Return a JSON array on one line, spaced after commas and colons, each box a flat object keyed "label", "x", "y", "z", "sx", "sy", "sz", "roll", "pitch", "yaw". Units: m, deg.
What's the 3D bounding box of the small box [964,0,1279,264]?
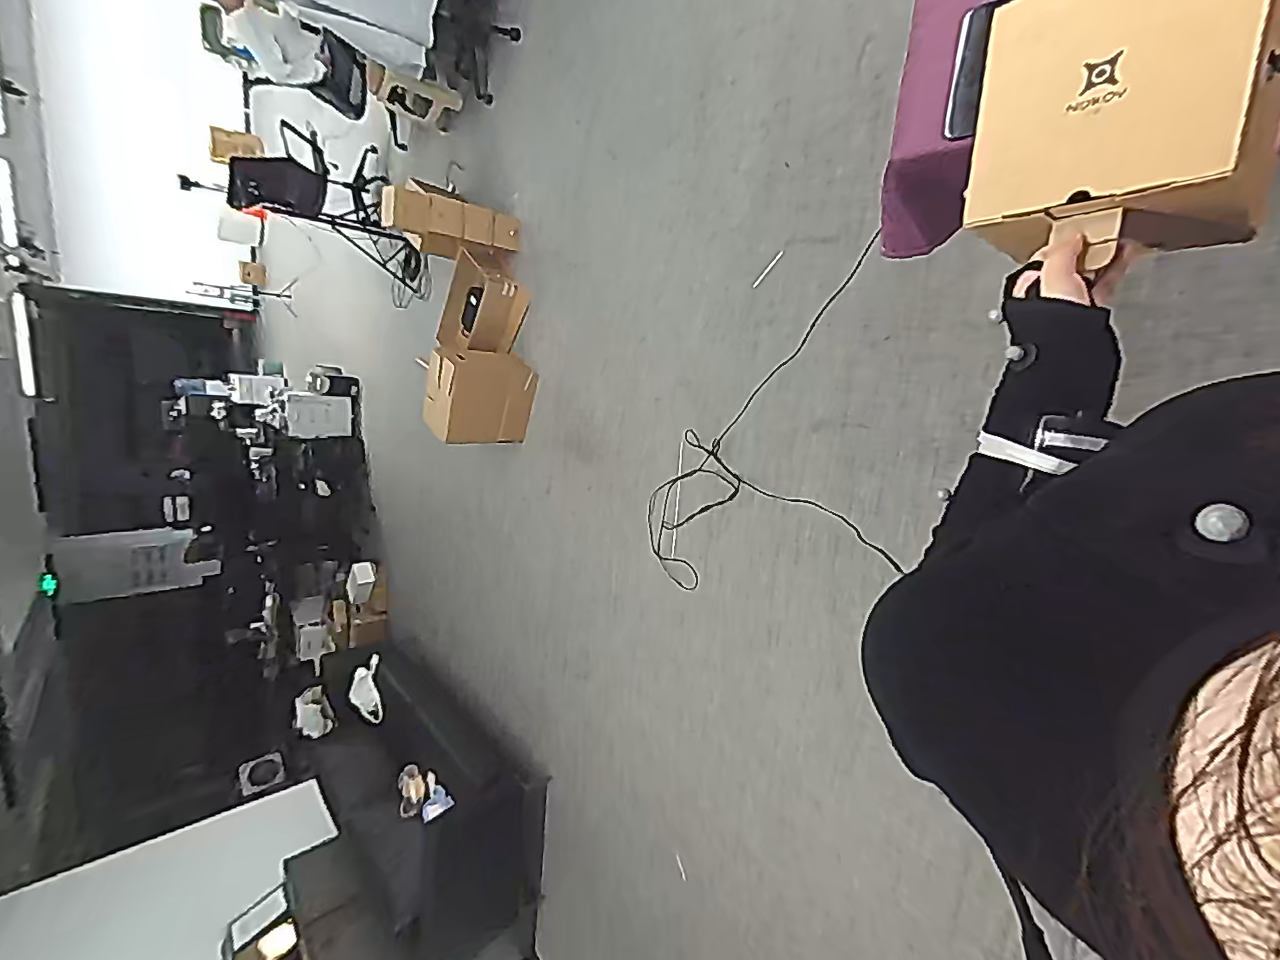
[{"label": "small box", "x": 0.404, "y": -0.298, "z": 0.452, "sx": 0.168, "sy": 0.176, "sz": 0.179, "roll": 15, "pitch": 104, "yaw": 50}]
